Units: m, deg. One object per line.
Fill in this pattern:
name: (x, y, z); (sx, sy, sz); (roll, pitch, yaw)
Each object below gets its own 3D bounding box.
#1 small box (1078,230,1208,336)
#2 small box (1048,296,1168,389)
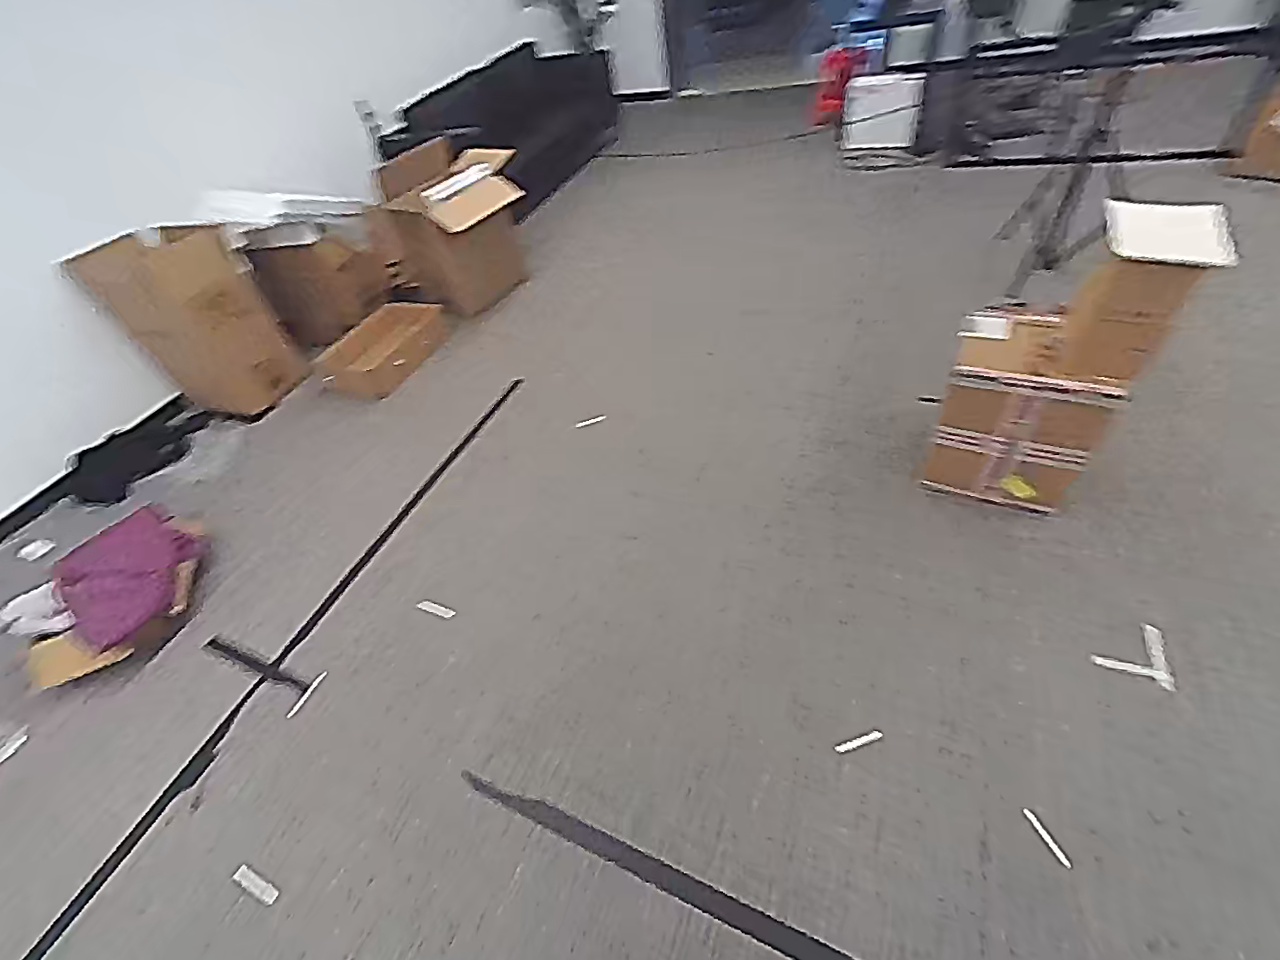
small box: (1.177, -0.469, 1.284); (0.168, 0.176, 0.179); (13, 52, 21)
small box: (1.198, -0.354, 1.399); (0.179, 0.176, 0.168); (10, 51, 20)
